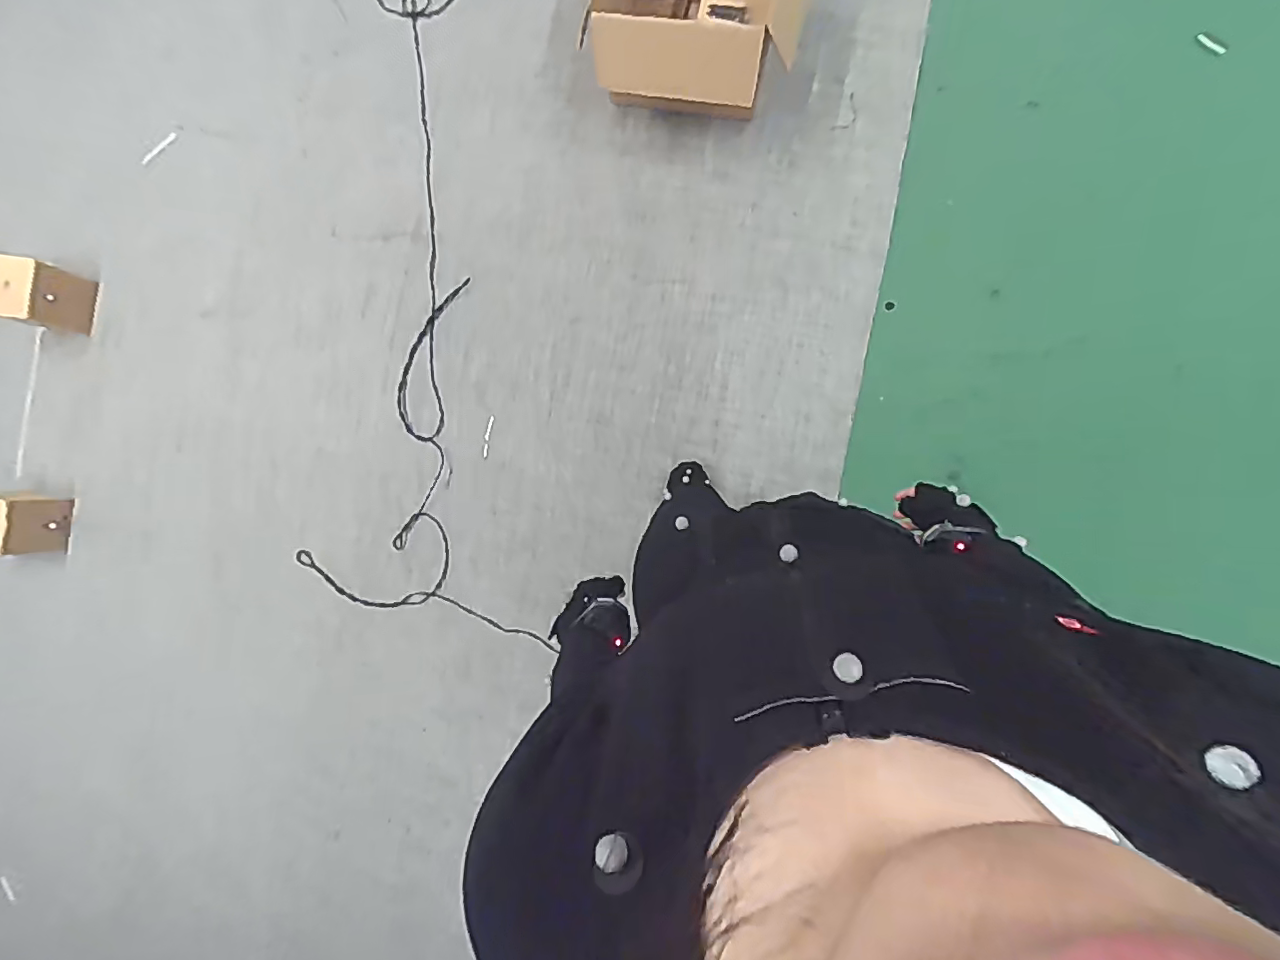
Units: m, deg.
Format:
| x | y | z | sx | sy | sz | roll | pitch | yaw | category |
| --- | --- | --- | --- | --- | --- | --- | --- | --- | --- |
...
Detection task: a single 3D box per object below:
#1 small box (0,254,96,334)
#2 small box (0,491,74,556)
| x | y | z | sx | sy | sz | roll | pitch | yaw | category |
| --- | --- | --- | --- | --- | --- | --- | --- | --- | --- |
| -1.794 | -0.554 | 1.618 | 0.168 | 0.176 | 0.179 | 9 | 92 | 6 | small box |
| -1.886 | 0.125 | 1.629 | 0.179 | 0.176 | 0.168 | 9 | 91 | 6 | small box |
